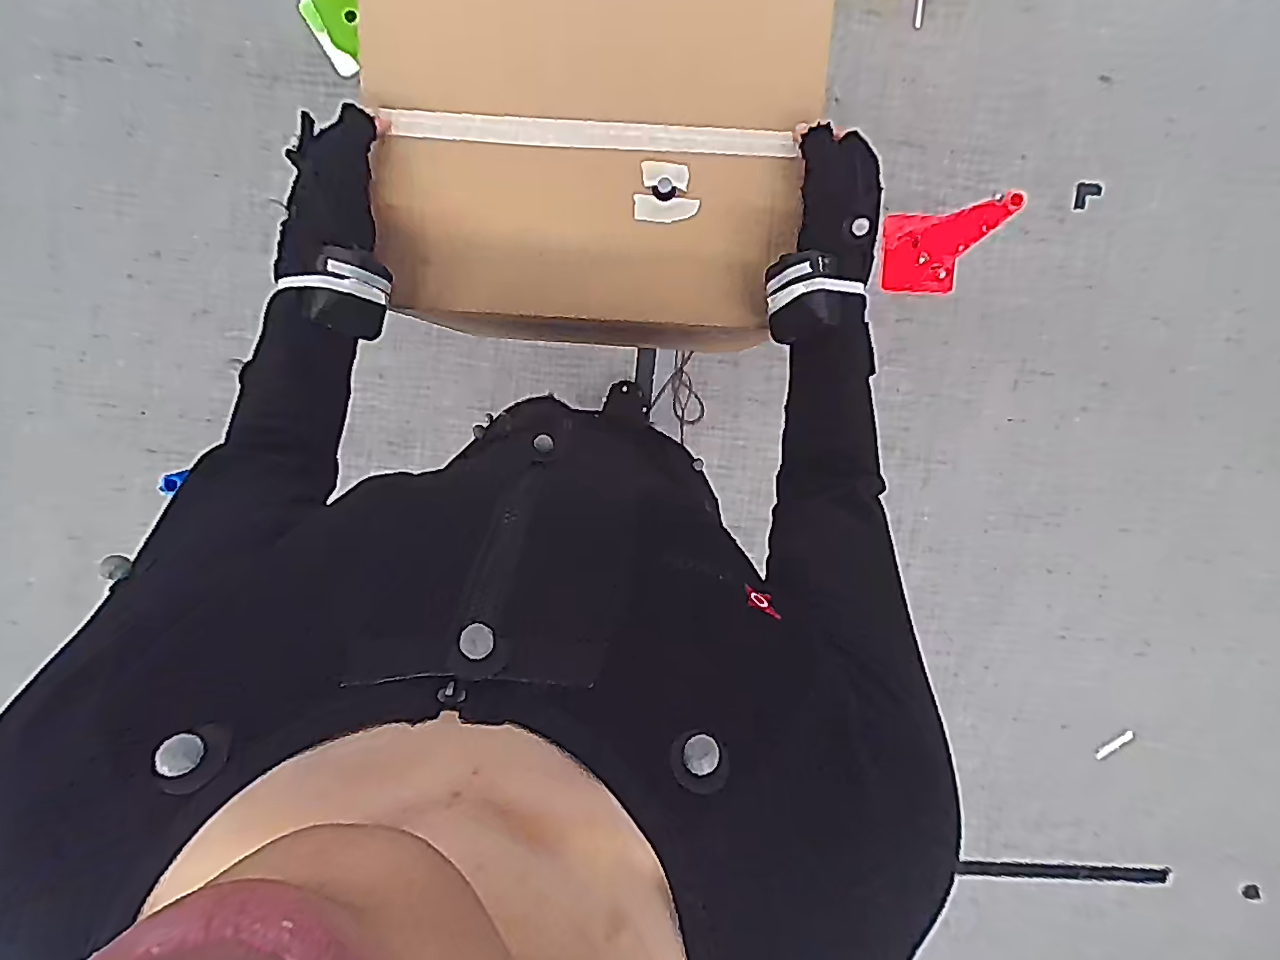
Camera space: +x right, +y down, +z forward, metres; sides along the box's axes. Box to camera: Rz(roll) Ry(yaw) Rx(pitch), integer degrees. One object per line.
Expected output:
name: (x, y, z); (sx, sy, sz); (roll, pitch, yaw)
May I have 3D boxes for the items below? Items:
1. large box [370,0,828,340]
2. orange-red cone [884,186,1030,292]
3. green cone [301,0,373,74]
large box: (-0.042, -0.340, 0.630); (0.408, 0.320, 0.320); (3, 100, -1)
orange-red cone: (0.750, -0.587, 1.252); (0.198, 0.360, 0.199); (2, 94, -3)
green cone: (-0.692, -1.108, 1.144); (0.202, 0.368, 0.200); (-32, 95, 3)
